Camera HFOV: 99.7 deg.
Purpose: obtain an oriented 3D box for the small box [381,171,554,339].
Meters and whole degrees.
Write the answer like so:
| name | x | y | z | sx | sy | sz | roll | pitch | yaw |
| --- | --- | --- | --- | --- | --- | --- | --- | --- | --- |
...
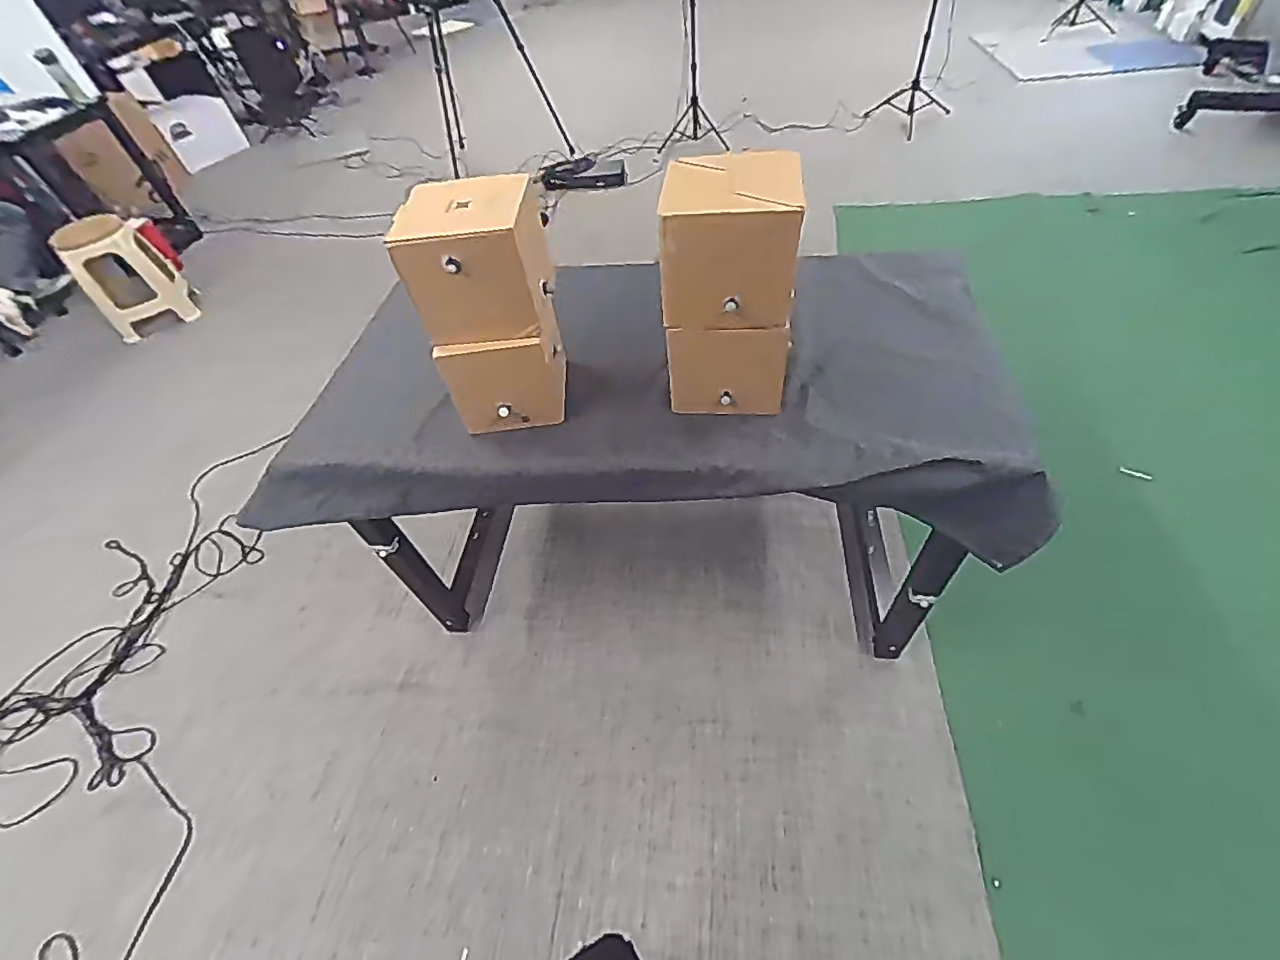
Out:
| name | x | y | z | sx | sy | sz | roll | pitch | yaw |
| --- | --- | --- | --- | --- | --- | --- | --- | --- | --- |
| small box | -0.235 | -0.322 | 0.789 | 0.179 | 0.176 | 0.168 | -3 | 52 | 4 |

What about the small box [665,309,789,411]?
| name | x | y | z | sx | sy | sz | roll | pitch | yaw |
| --- | --- | --- | --- | --- | --- | --- | --- | --- | --- |
| small box | 0.138 | -0.225 | 0.873 | 0.179 | 0.176 | 0.168 | 2 | 51 | 8 |

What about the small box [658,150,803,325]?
| name | x | y | z | sx | sy | sz | roll | pitch | yaw |
| --- | --- | --- | --- | --- | --- | --- | --- | --- | --- |
| small box | 0.120 | -0.333 | 0.745 | 0.179 | 0.176 | 0.168 | 2 | 51 | 9 |

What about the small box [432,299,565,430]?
| name | x | y | z | sx | sy | sz | roll | pitch | yaw |
| --- | --- | --- | --- | --- | --- | --- | --- | --- | --- |
| small box | -0.223 | -0.208 | 0.905 | 0.168 | 0.176 | 0.179 | -7 | 51 | 2 |
